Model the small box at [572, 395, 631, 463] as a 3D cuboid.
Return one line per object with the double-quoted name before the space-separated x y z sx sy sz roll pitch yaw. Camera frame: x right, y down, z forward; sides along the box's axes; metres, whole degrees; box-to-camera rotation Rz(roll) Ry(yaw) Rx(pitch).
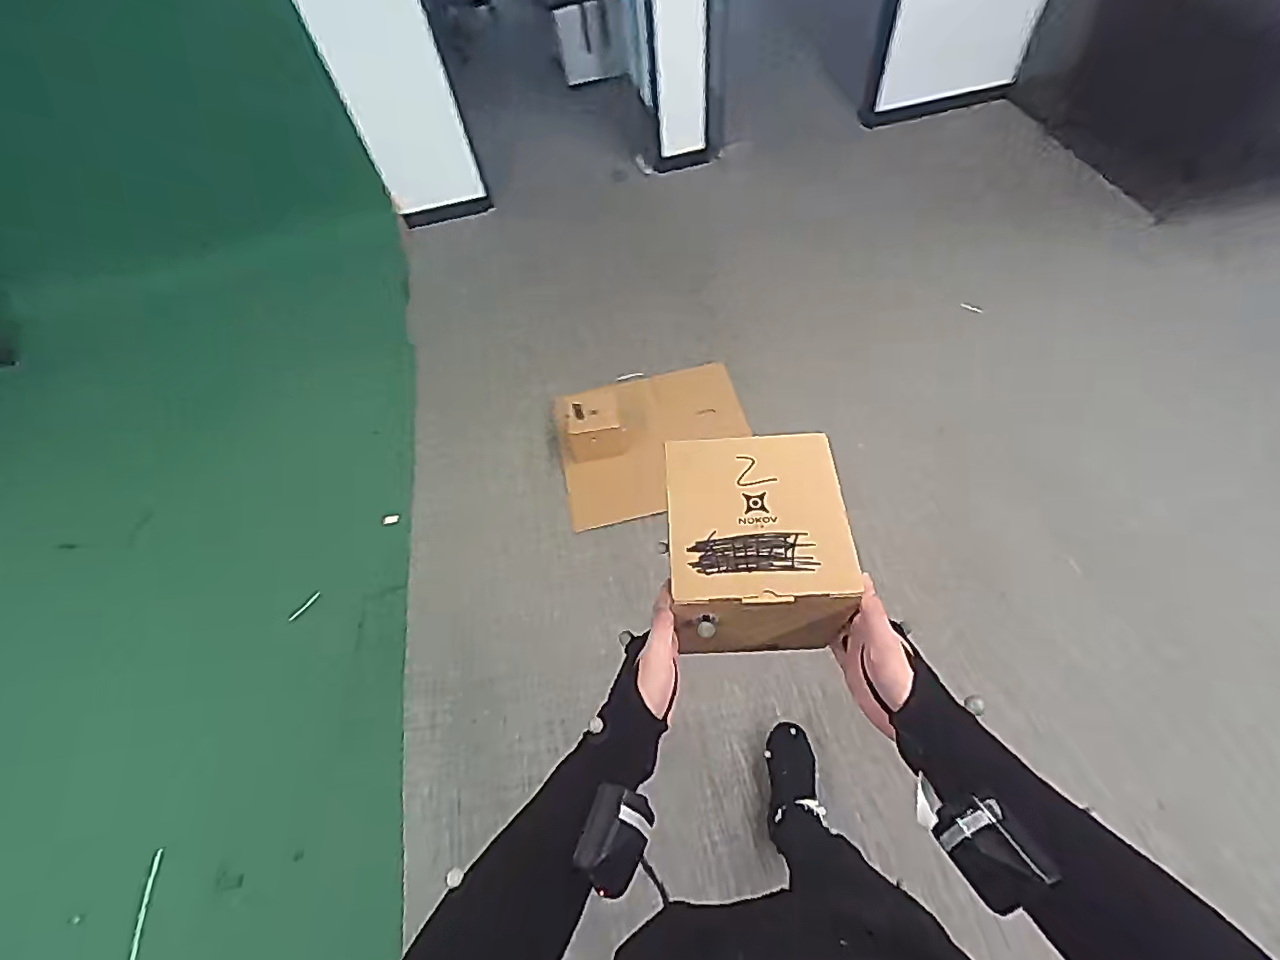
"small box" -0.136 -0.177 1.929 0.179 0.176 0.168 -9 57 1
